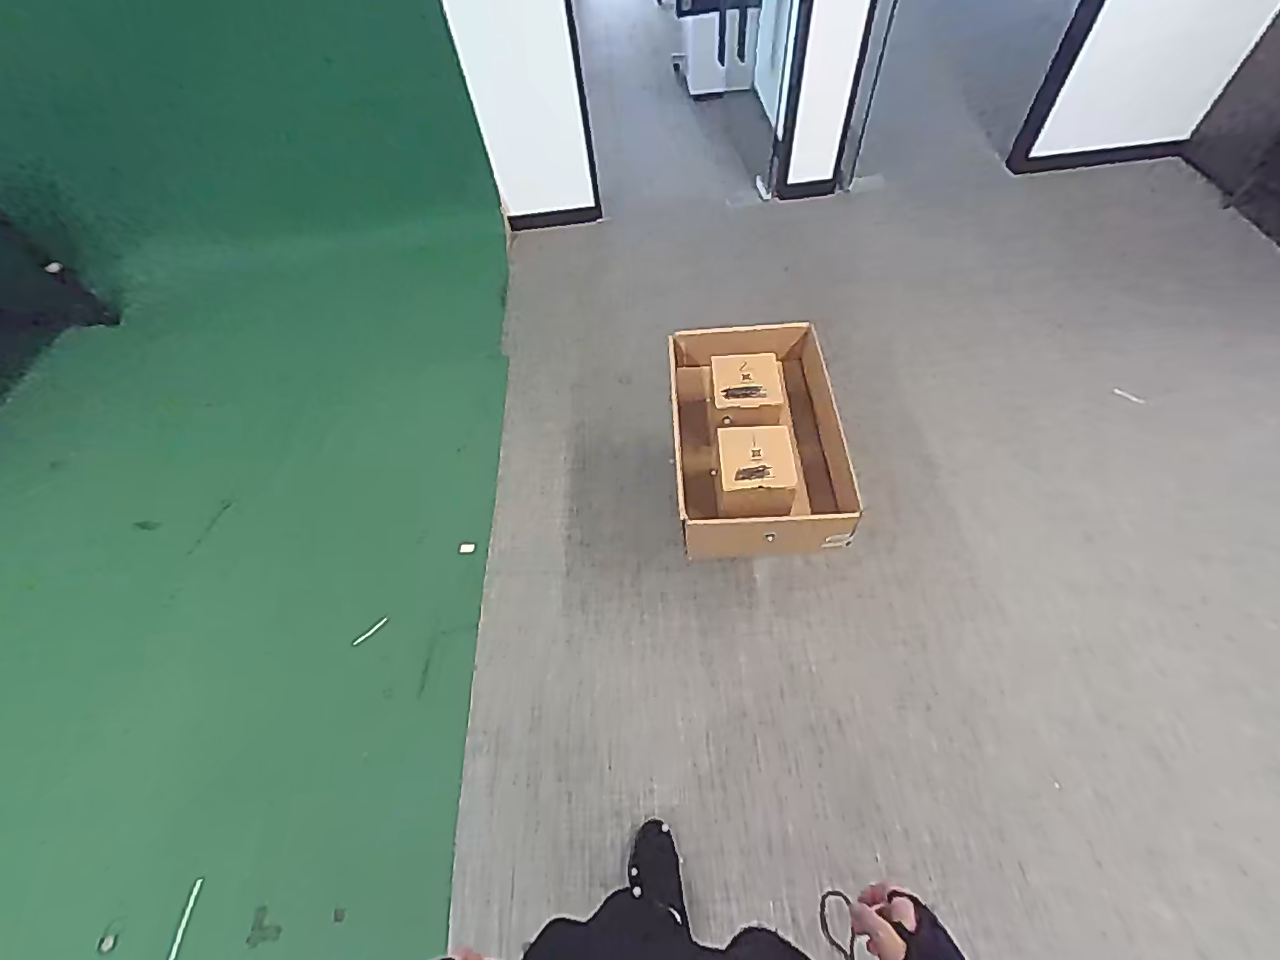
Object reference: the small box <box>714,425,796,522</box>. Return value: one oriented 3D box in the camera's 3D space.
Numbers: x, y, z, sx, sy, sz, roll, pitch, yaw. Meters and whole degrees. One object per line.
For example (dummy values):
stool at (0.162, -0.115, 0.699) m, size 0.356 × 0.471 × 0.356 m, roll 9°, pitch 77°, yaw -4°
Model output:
small box at (0.266, -0.008, 1.285) m, size 0.168 × 0.176 × 0.179 m, roll -2°, pitch 56°, yaw 3°
